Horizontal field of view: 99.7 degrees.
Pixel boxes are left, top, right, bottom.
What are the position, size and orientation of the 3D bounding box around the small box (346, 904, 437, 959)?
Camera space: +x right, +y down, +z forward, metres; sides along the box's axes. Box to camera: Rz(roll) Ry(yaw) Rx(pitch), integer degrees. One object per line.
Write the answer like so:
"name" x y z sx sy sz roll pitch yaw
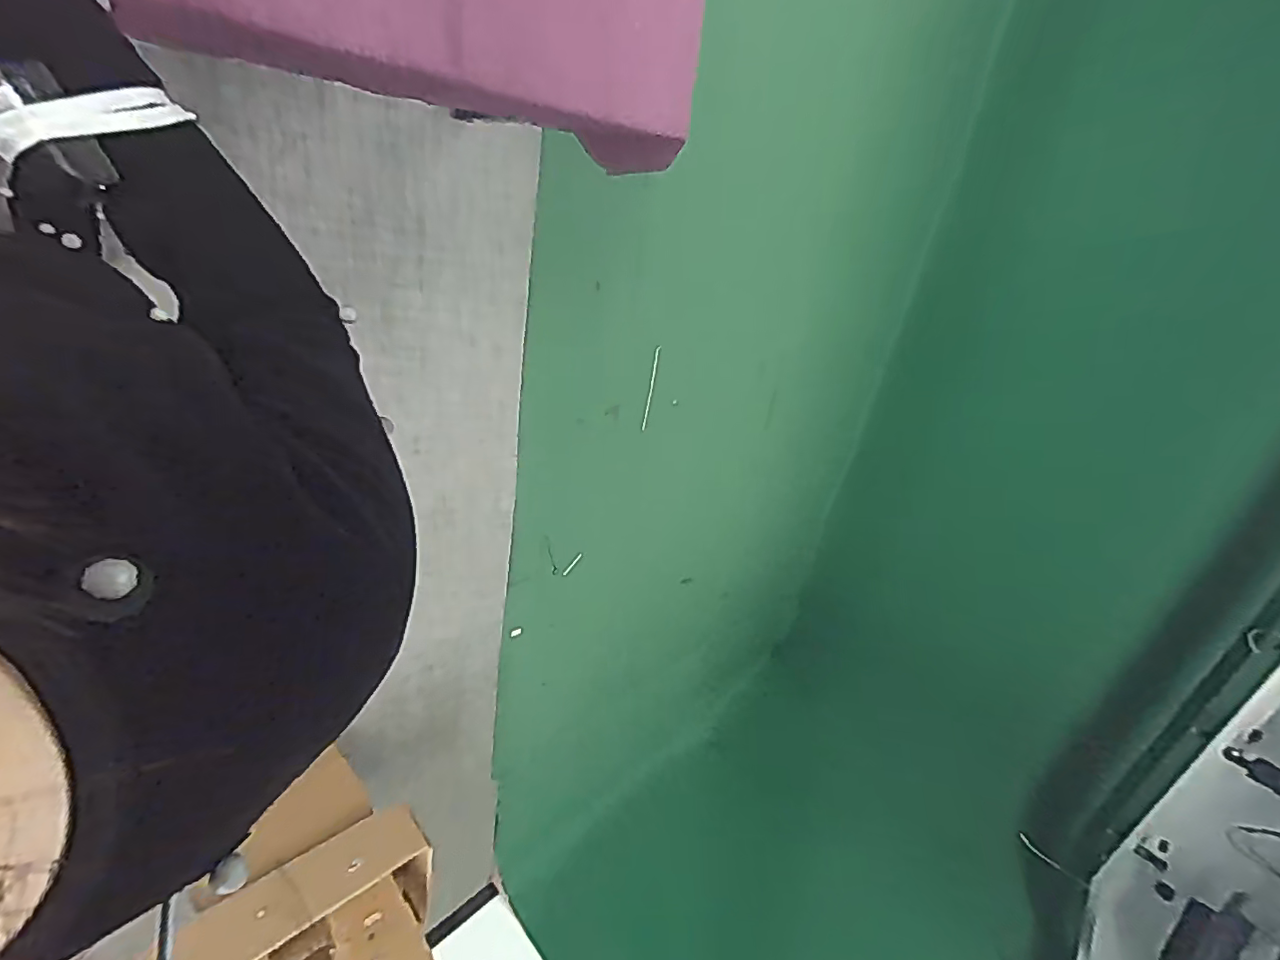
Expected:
"small box" -0.653 1.262 1.408 0.168 0.176 0.179 -6 120 -45
